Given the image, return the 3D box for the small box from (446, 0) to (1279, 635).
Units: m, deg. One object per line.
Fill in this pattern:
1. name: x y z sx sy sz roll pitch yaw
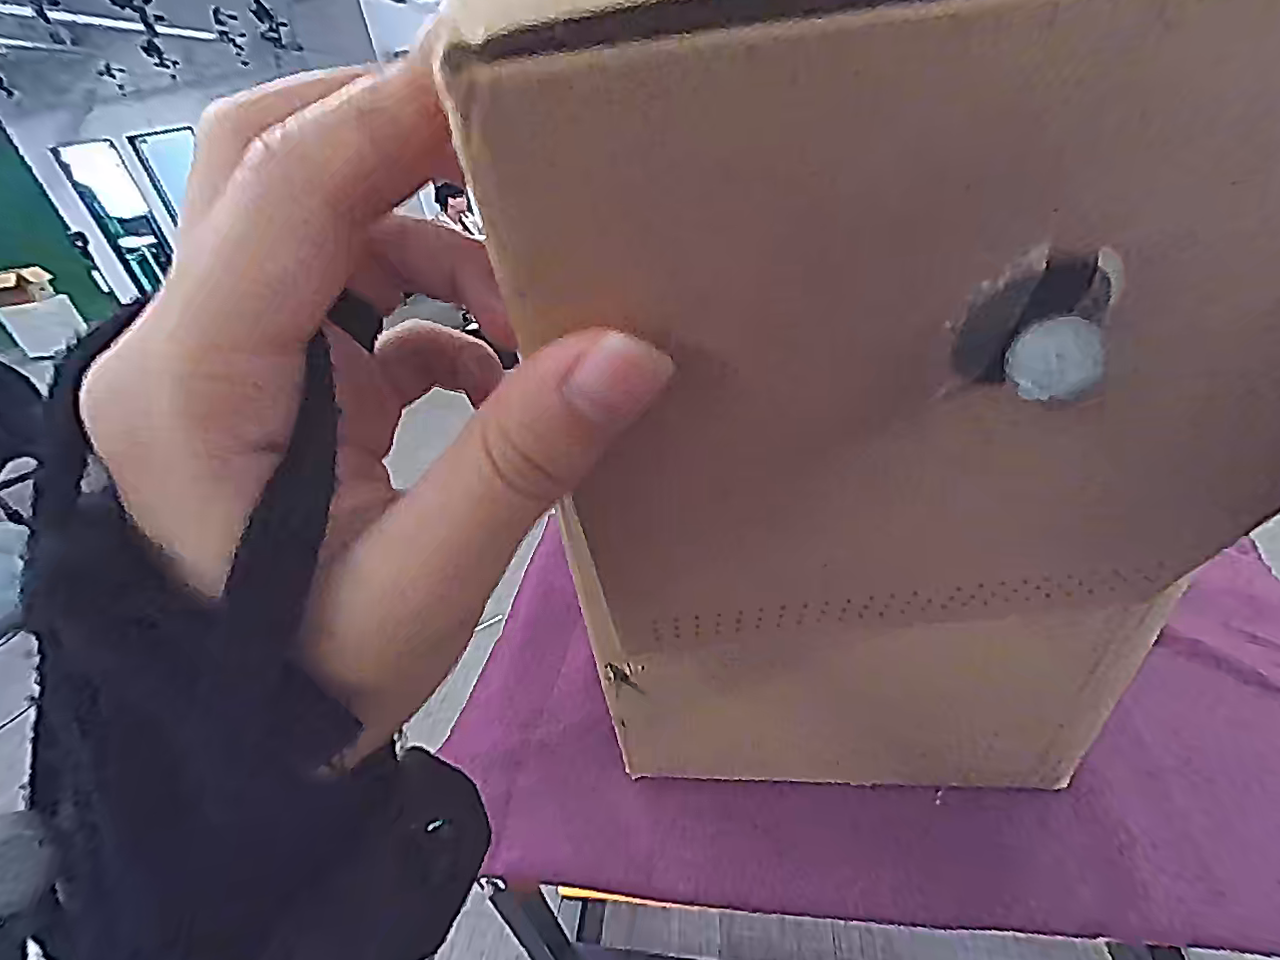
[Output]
1. small box: 0.067 -0.064 0.166 0.179 0.176 0.168 -7 52 1
